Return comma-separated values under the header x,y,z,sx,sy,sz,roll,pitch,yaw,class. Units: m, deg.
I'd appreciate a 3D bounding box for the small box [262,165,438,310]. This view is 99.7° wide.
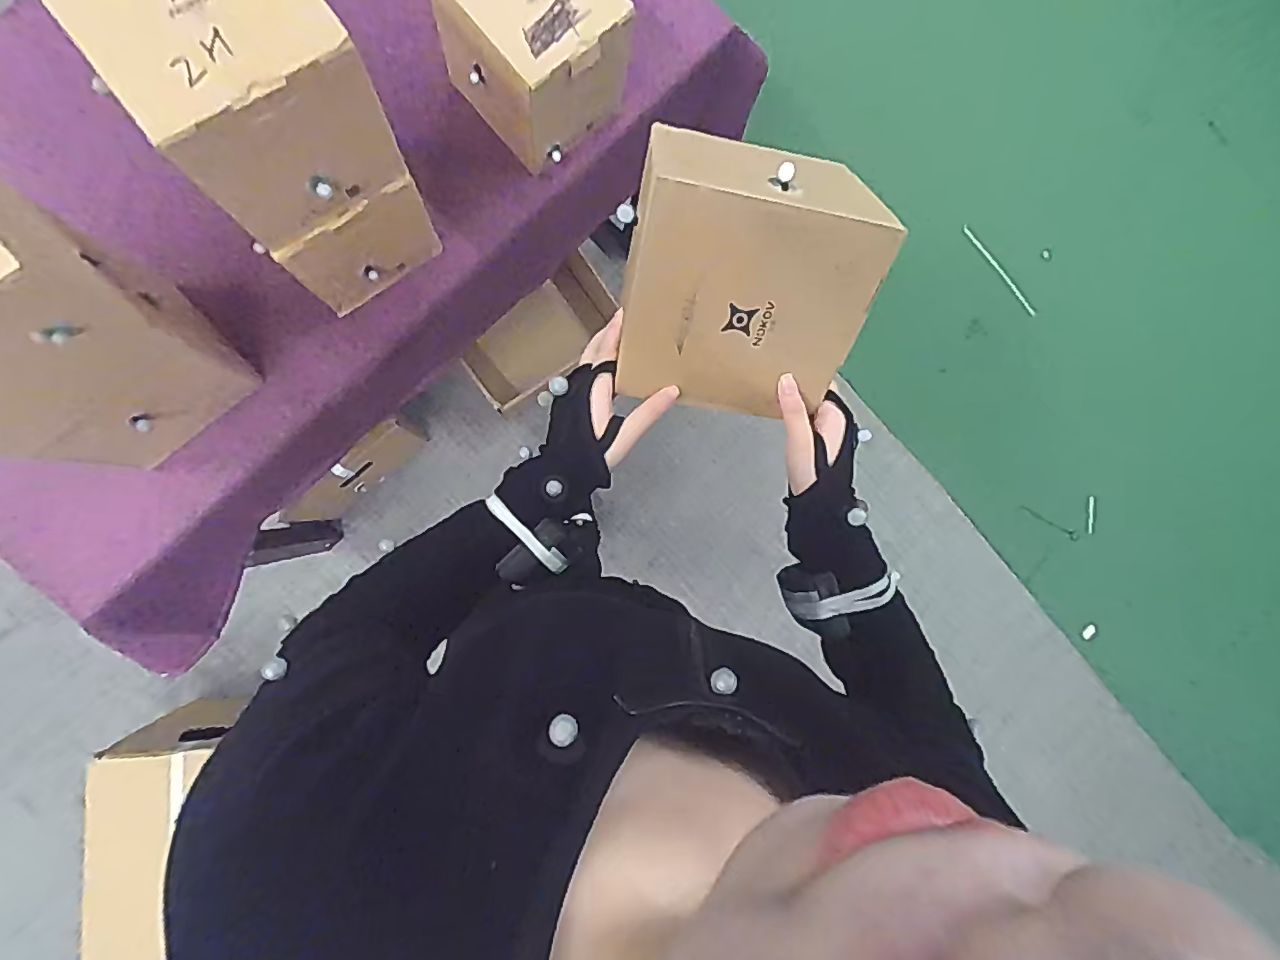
x,y,z,sx,sy,sz,roll,pitch,yaw,class
-0.372,-0.337,0.643,0.168,0.176,0.179,-38,95,-9,small box

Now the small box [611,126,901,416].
x,y,z,sx,sy,sz,roll,pitch,yaw,class
0.076,-0.179,0.461,0.179,0.168,0.176,9,42,-7,small box

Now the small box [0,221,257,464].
x,y,z,sx,sy,sz,roll,pitch,yaw,class
-0.583,-0.132,0.596,0.179,0.176,0.168,-43,95,-9,small box

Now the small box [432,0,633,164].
x,y,z,sx,sy,sz,roll,pitch,yaw,class
-0.133,-0.546,0.690,0.168,0.176,0.179,-43,94,-8,small box

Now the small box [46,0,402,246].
x,y,z,sx,sy,sz,roll,pitch,yaw,class
-0.348,-0.351,0.480,0.168,0.176,0.179,-37,94,-9,small box
